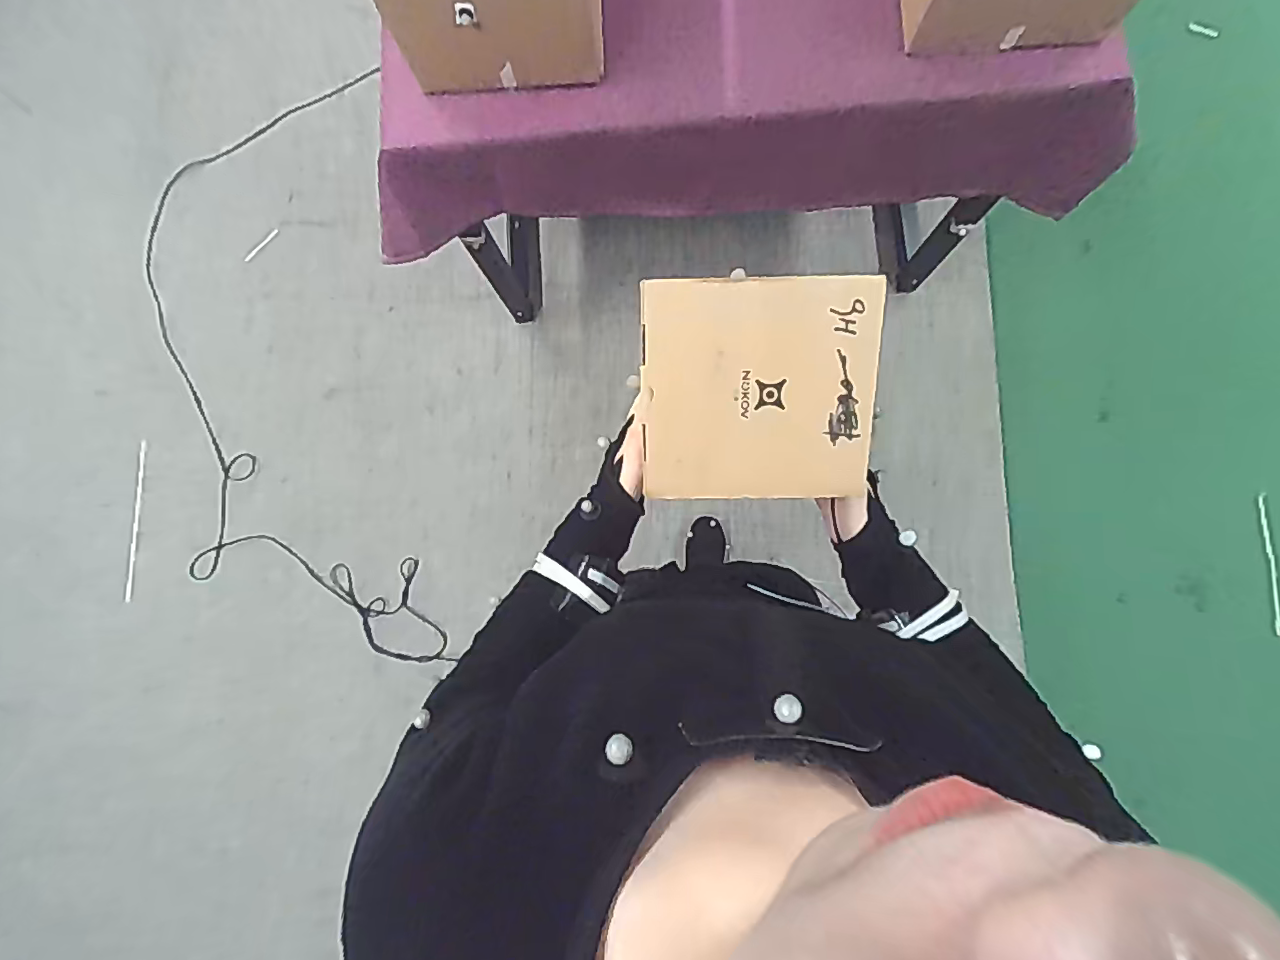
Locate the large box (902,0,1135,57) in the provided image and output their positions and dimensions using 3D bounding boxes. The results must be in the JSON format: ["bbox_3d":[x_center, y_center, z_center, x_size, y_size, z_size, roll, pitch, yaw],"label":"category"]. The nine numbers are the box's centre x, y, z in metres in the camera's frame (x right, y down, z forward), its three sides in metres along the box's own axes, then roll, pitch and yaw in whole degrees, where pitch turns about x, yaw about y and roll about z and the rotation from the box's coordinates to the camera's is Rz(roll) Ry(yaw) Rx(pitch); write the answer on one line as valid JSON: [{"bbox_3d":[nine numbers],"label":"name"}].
[{"bbox_3d":[0.574,-0.905,0.750,0.320,0.320,0.408,-1,83,3],"label":"large box"}]
